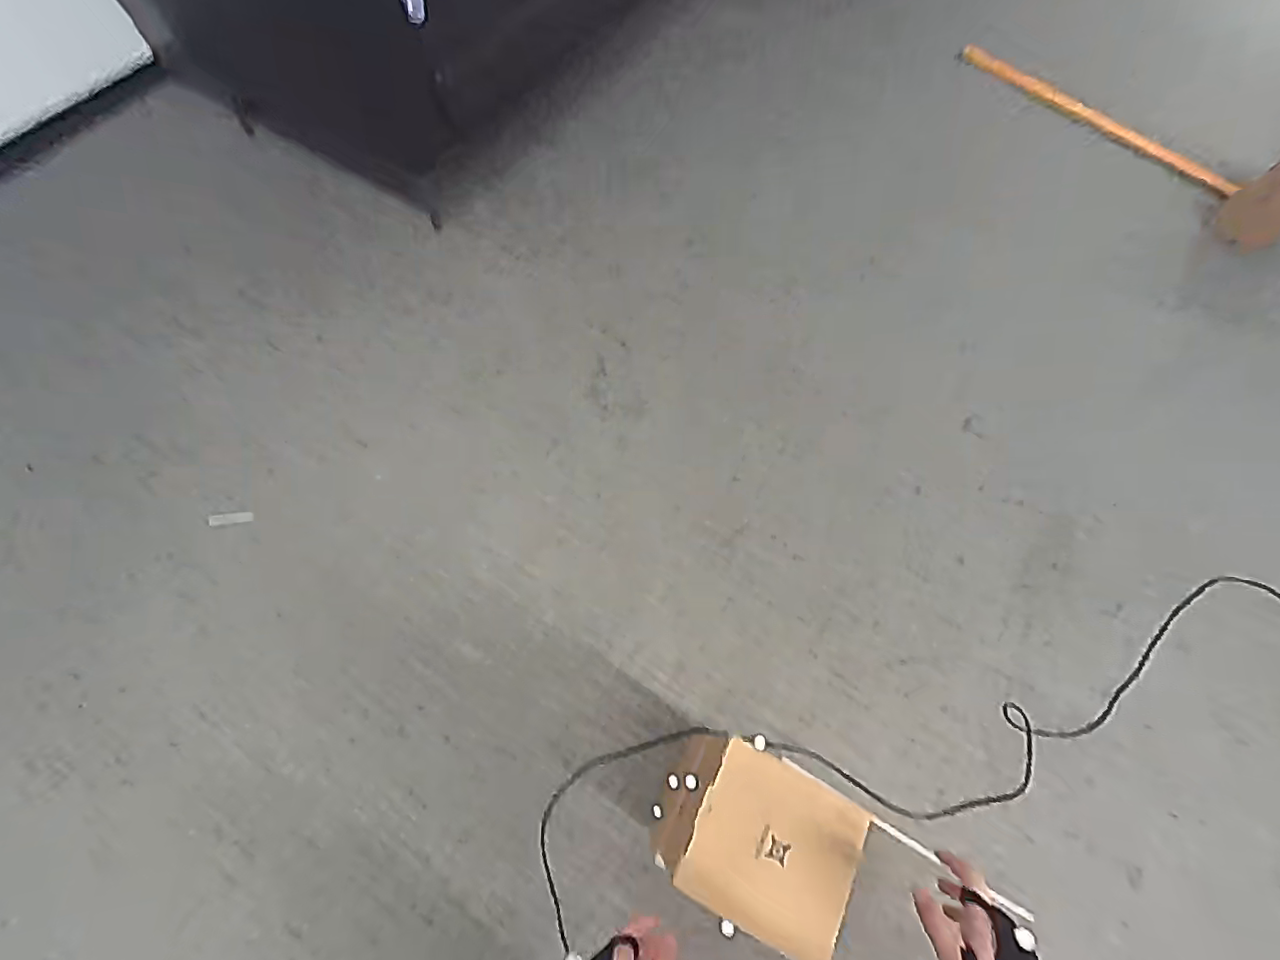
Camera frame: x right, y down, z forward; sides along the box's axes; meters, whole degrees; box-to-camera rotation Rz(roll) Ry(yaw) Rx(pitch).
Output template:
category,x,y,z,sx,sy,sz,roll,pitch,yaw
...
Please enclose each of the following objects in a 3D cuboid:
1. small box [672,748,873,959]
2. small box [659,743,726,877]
category,x,y,z,sx,sy,sz,roll,pitch,yaw
small box,0.151,0.451,0.667,0.179,0.176,0.168,24,67,13
small box,0.138,0.522,0.814,0.168,0.176,0.179,25,66,12
